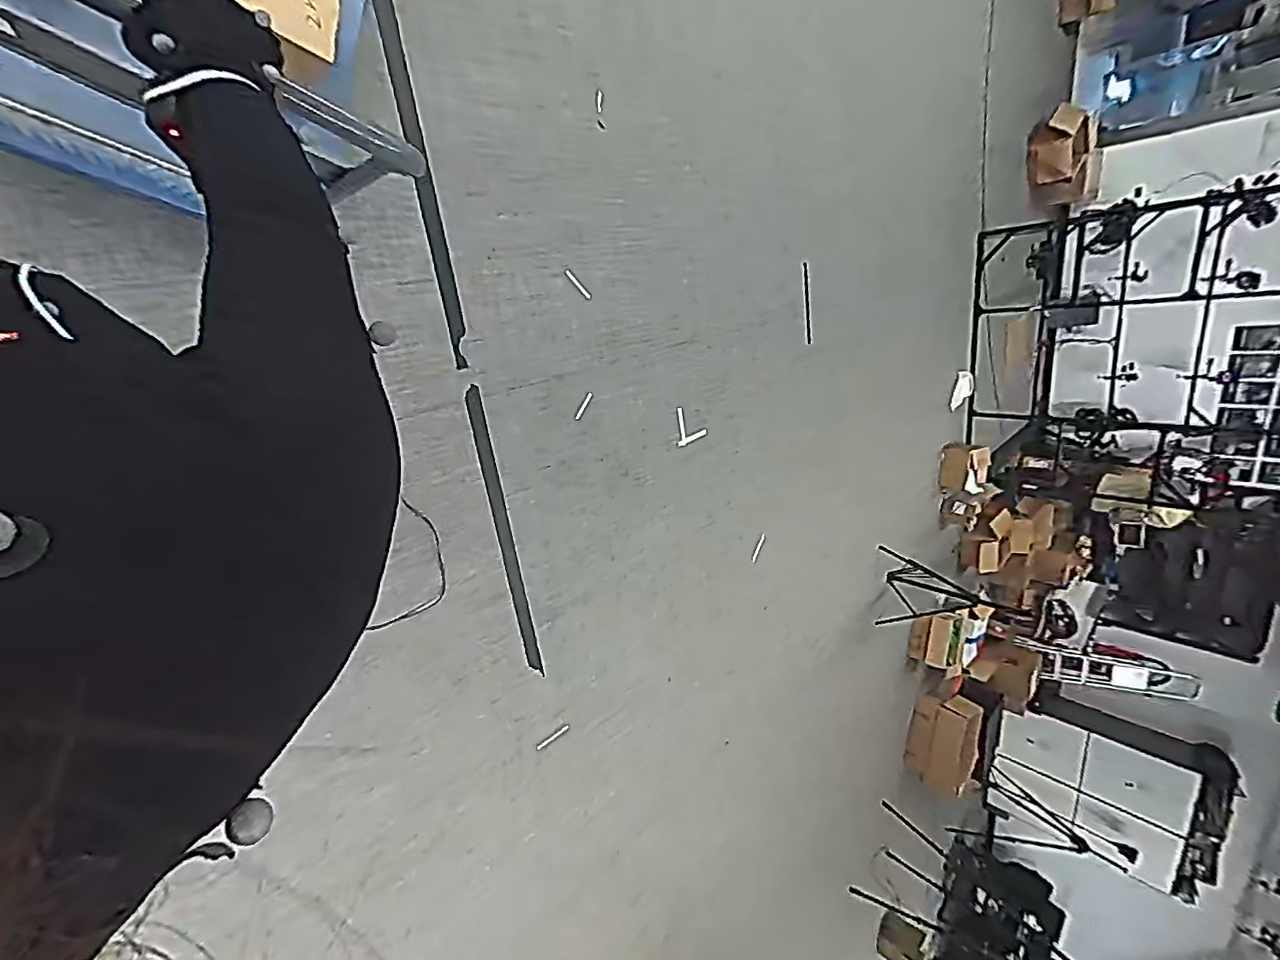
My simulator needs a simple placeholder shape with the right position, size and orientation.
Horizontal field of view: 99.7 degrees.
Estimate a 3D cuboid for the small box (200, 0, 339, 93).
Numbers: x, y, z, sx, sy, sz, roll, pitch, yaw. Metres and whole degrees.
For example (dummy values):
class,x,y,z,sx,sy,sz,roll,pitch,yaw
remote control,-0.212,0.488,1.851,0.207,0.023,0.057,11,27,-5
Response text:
class,x,y,z,sx,sy,sz,roll,pitch,yaw
small box,-0.647,-0.825,0.945,0.179,0.176,0.168,6,95,-44
